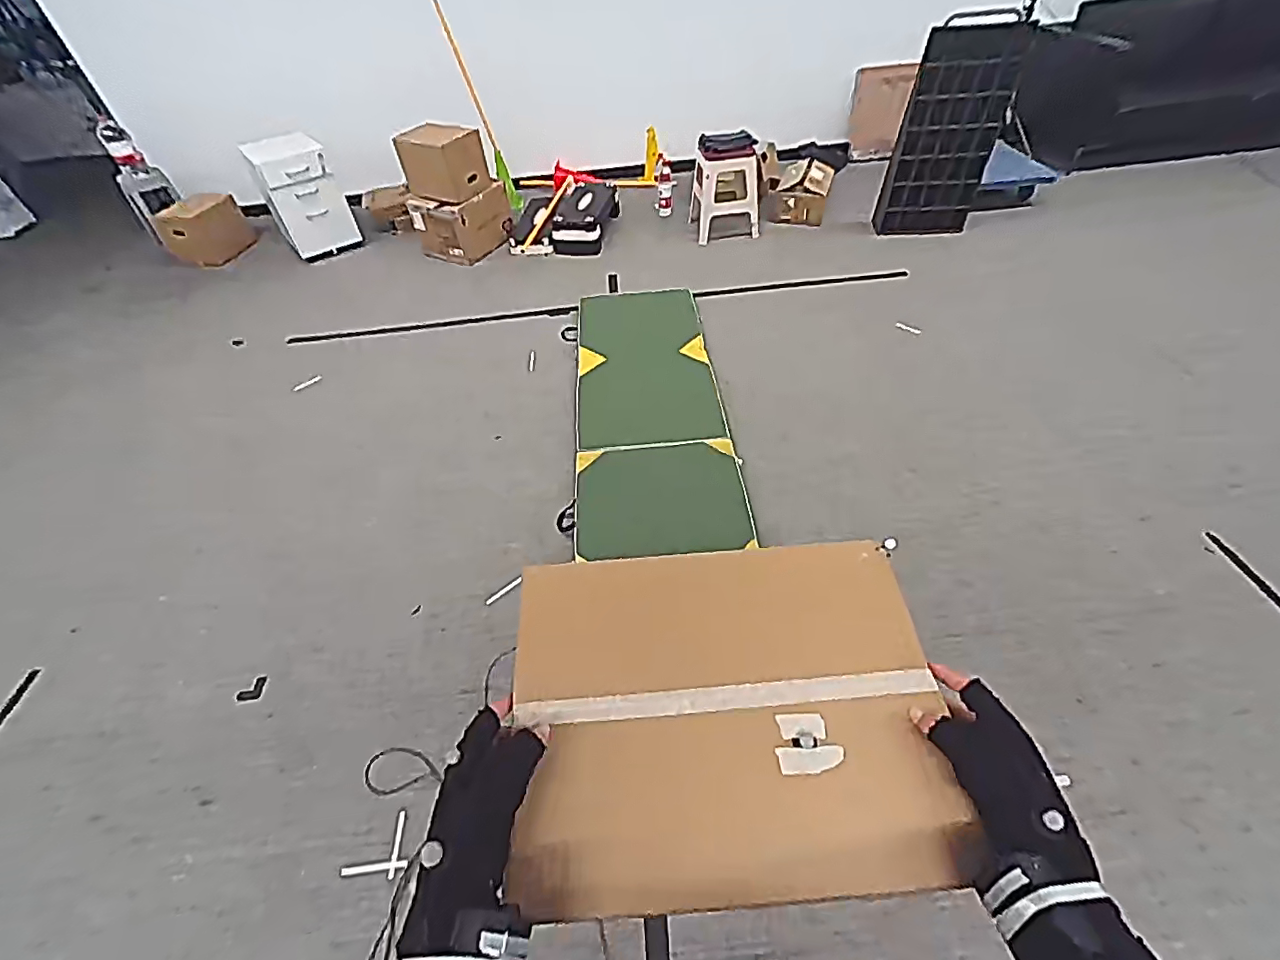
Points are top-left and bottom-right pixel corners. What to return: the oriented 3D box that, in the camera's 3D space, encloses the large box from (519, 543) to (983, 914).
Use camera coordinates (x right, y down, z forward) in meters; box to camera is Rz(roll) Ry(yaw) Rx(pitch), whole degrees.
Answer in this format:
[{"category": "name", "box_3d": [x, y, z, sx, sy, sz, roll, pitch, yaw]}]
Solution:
[{"category": "large box", "box_3d": [0.086, 0.301, 0.656, 0.408, 0.320, 0.320, -5, 55, -1]}]
